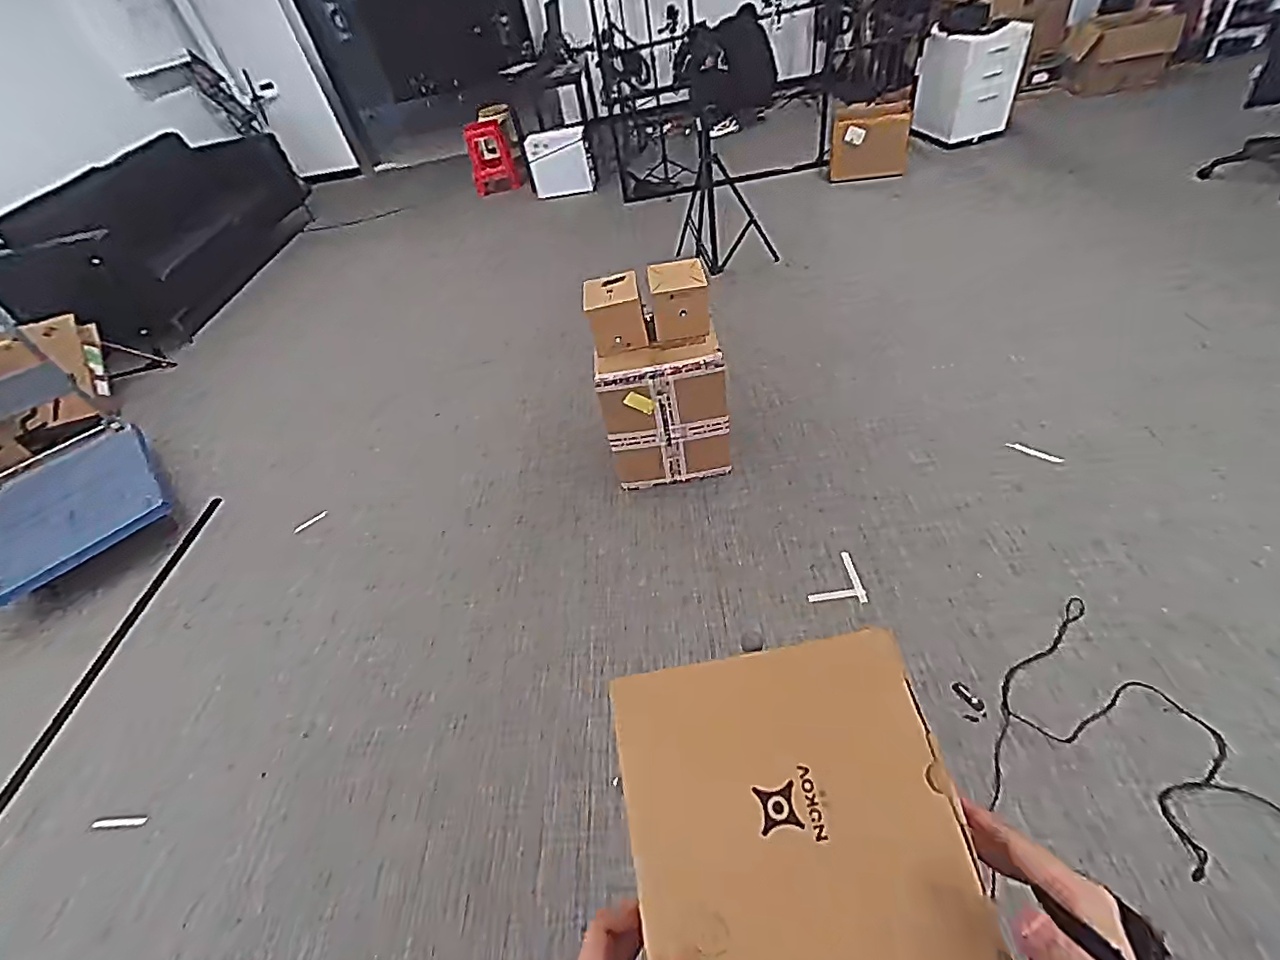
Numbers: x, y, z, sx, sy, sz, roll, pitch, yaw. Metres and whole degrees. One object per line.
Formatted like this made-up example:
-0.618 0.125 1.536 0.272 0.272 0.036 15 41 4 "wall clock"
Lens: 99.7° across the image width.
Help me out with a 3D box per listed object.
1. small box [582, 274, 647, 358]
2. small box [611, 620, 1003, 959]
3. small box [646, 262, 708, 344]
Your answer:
-0.078 -0.508 1.682 0.168 0.176 0.179 -11 47 6 "small box"
0.088 0.207 0.367 0.179 0.176 0.168 -11 64 1 "small box"
0.113 -0.550 1.674 0.168 0.176 0.179 -7 47 2 "small box"
